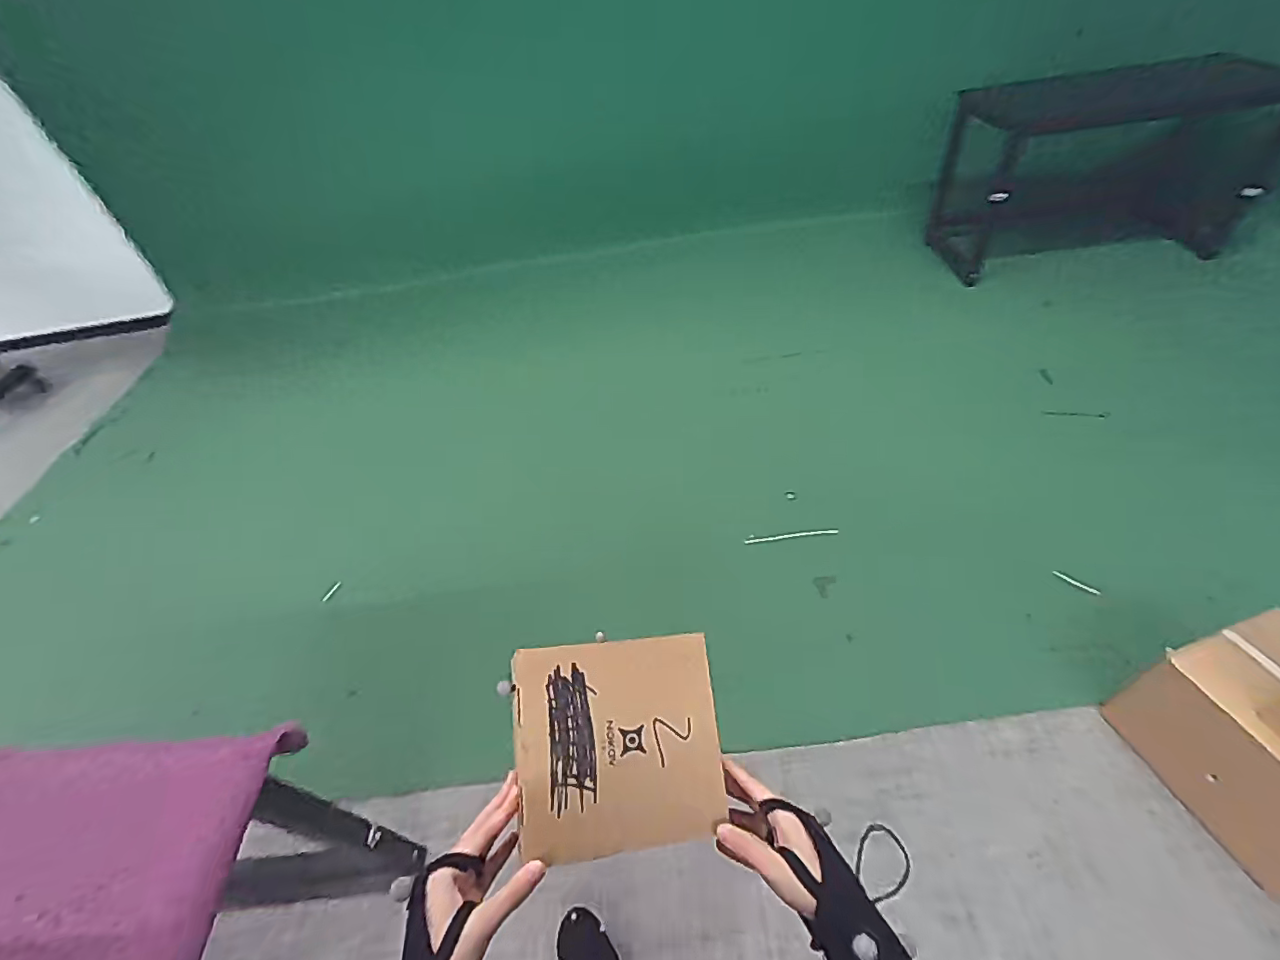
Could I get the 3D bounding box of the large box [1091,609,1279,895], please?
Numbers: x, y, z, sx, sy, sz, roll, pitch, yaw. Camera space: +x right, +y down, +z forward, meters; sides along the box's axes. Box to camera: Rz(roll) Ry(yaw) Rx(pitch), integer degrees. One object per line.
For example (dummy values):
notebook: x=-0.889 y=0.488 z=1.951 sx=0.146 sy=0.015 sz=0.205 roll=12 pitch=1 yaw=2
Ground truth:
large box: x=1.318 y=0.563 z=1.144 sx=0.320 sy=0.320 sz=0.408 roll=-17 pitch=45 yaw=-9

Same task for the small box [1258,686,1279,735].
small box: x=1.268 y=0.421 z=0.945 sx=0.179 sy=0.176 sz=0.168 roll=-14 pitch=47 yaw=-4
